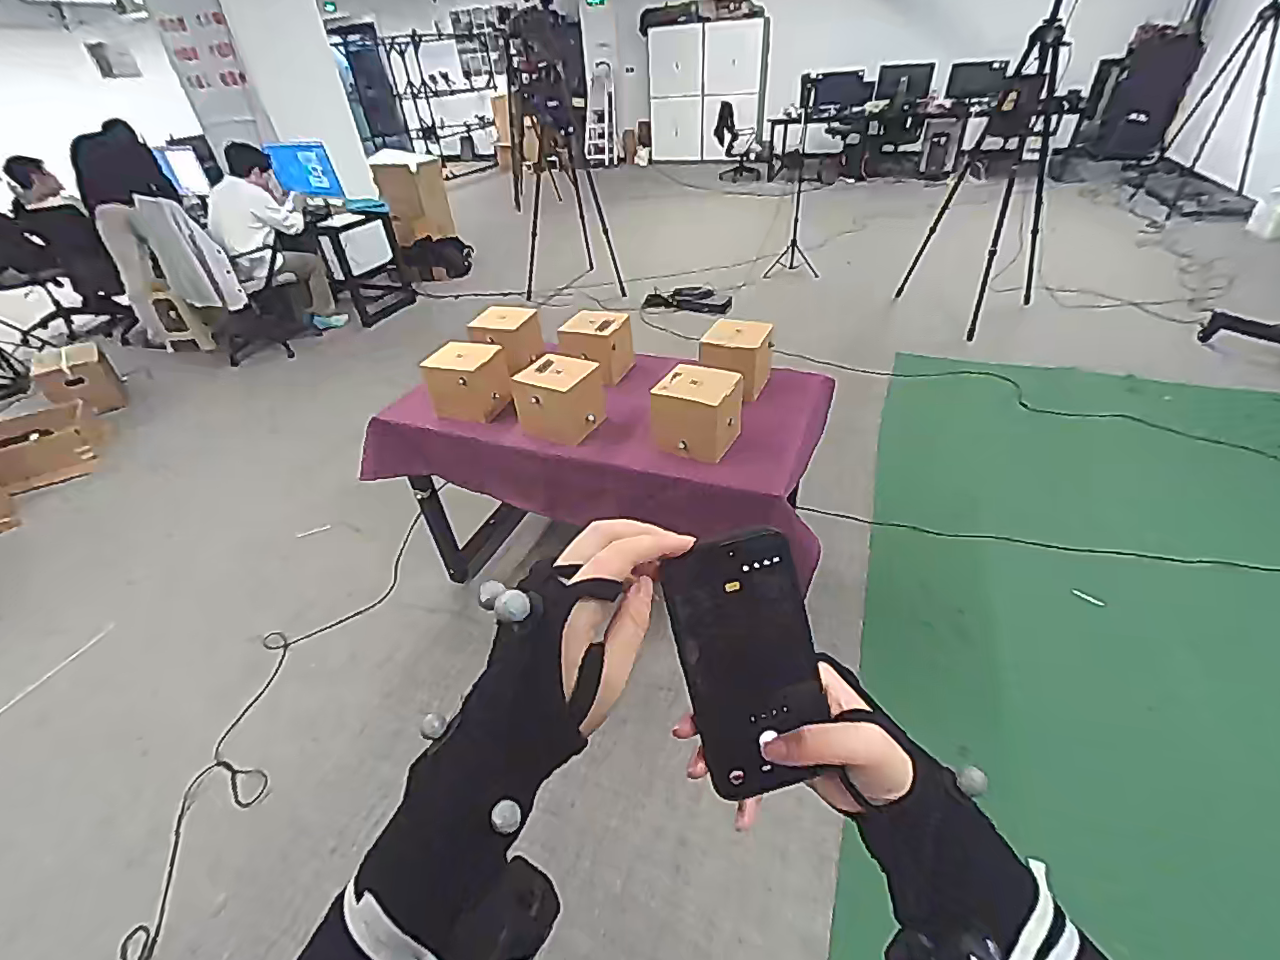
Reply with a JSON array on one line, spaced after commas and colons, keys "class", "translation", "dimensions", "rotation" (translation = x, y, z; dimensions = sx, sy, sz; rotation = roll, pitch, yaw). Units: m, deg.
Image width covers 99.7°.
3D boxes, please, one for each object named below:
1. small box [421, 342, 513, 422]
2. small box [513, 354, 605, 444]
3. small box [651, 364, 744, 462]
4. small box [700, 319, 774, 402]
[{"class": "small box", "translation": [-0.493, -0.284, 1.565], "dimensions": [0.179, 0.176, 0.168], "rotation": [9, 39, 14]}, {"class": "small box", "translation": [-0.210, -0.217, 1.449], "dimensions": [0.179, 0.176, 0.168], "rotation": [17, 43, 24]}, {"class": "small box", "translation": [0.143, -0.166, 1.348], "dimensions": [0.179, 0.176, 0.168], "rotation": [17, 42, 25]}, {"class": "small box", "translation": [0.279, -0.348, 1.565], "dimensions": [0.168, 0.176, 0.179], "rotation": [14, 42, 23]}]
